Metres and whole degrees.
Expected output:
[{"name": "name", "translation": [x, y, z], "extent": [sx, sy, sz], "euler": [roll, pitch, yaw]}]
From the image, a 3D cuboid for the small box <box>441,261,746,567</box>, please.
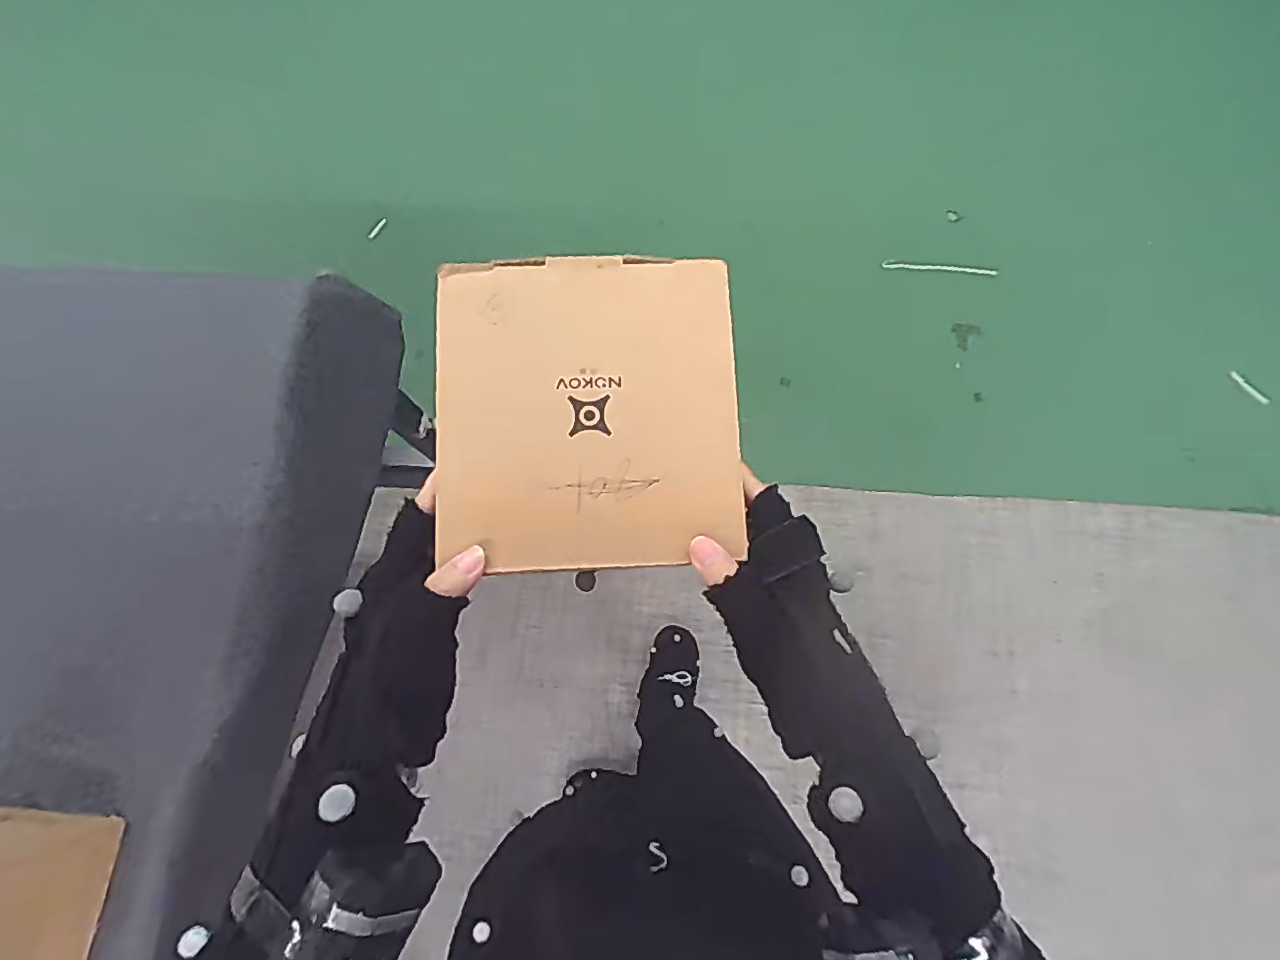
[{"name": "small box", "translation": [-0.029, -0.029, 0.381], "extent": [0.168, 0.176, 0.179], "euler": [-1, 82, -2]}]
